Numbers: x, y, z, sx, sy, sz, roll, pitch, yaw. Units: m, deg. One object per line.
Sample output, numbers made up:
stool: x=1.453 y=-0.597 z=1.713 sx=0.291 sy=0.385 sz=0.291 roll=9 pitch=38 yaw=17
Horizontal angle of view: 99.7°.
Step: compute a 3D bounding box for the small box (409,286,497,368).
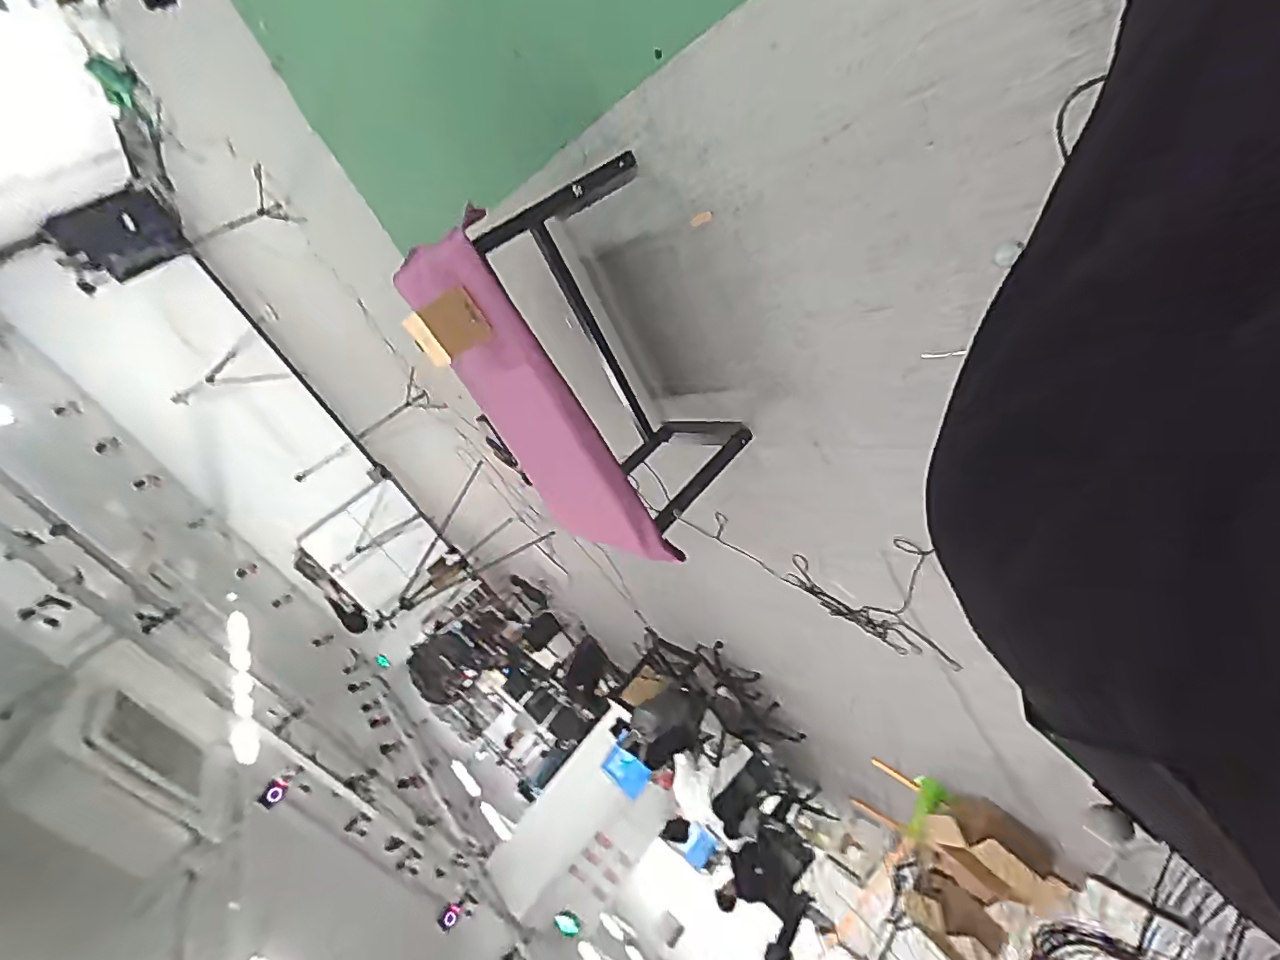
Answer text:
small box: x=-0.562 y=-0.460 z=1.635 sx=0.179 sy=0.176 sz=0.168 roll=7 pitch=136 yaw=55
